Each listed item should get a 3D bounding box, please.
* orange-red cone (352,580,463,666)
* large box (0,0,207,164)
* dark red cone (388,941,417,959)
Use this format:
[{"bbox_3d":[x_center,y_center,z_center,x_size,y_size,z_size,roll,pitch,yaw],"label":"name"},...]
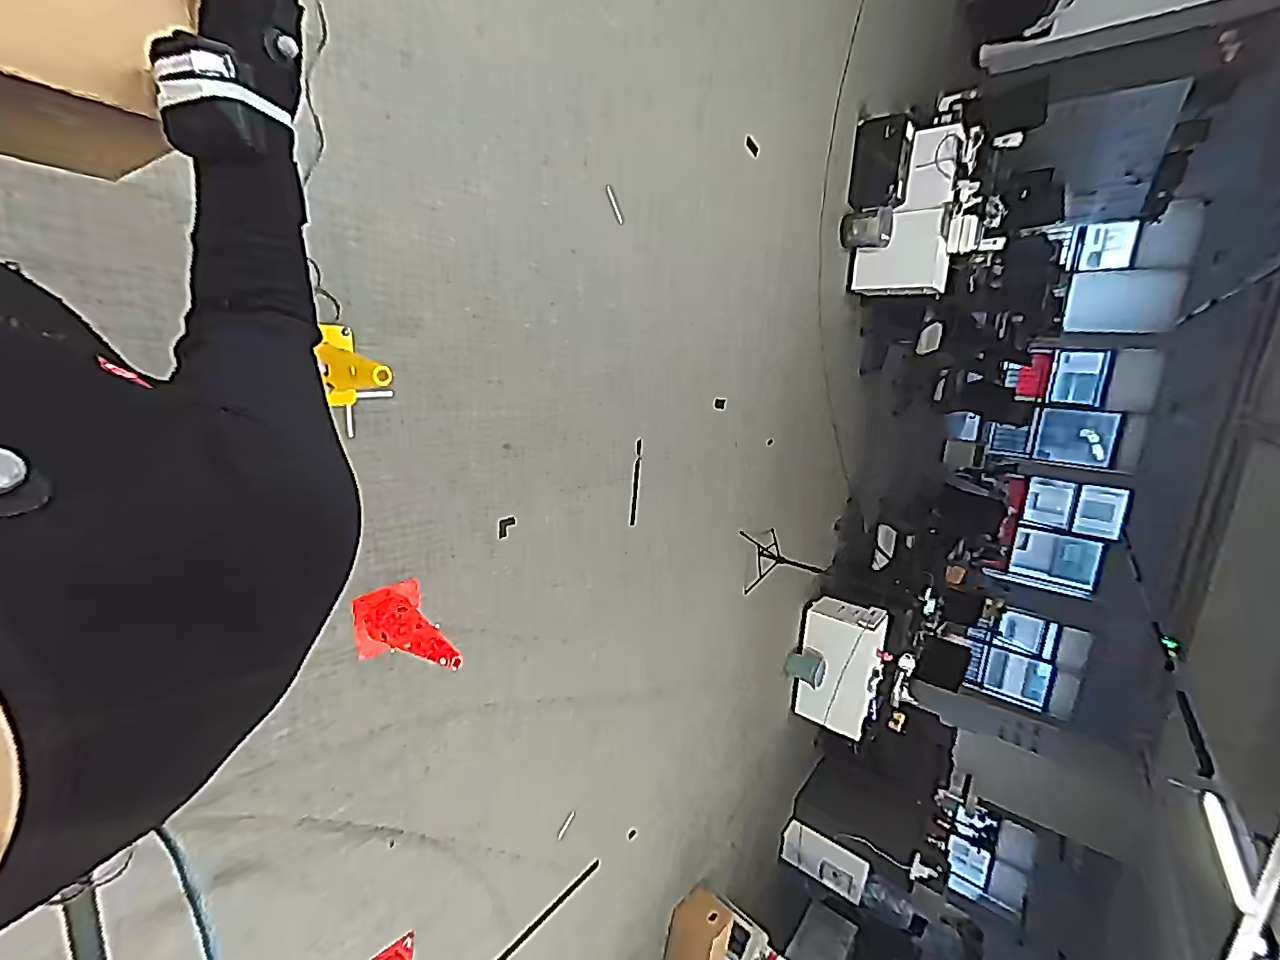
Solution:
[{"bbox_3d":[-0.618,0.437,1.510,0.198,0.360,0.199,-16,111,-51],"label":"orange-red cone"},{"bbox_3d":[-0.551,-0.426,0.302,0.408,0.320,0.320,-11,111,-53],"label":"large box"},{"bbox_3d":[-0.724,1.717,1.715,0.201,0.394,0.202,-2,102,-51],"label":"dark red cone"}]
